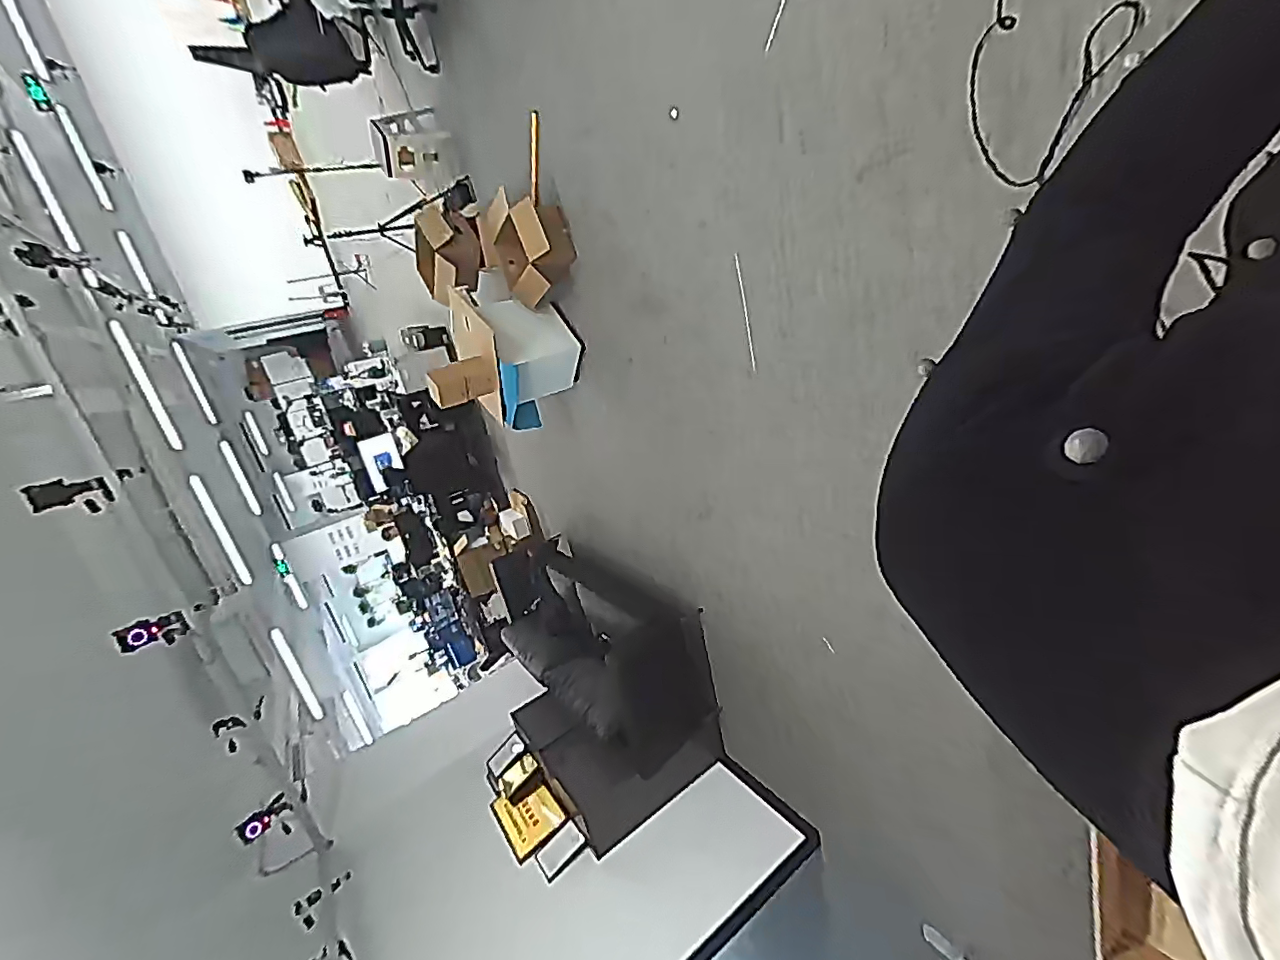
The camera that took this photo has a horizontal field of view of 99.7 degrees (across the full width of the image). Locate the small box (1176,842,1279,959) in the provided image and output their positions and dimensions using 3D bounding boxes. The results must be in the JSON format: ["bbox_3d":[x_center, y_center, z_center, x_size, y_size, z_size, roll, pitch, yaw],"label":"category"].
[{"bbox_3d":[1.199,0.872,1.066,0.168,0.176,0.179,12,123,56],"label":"small box"}]
